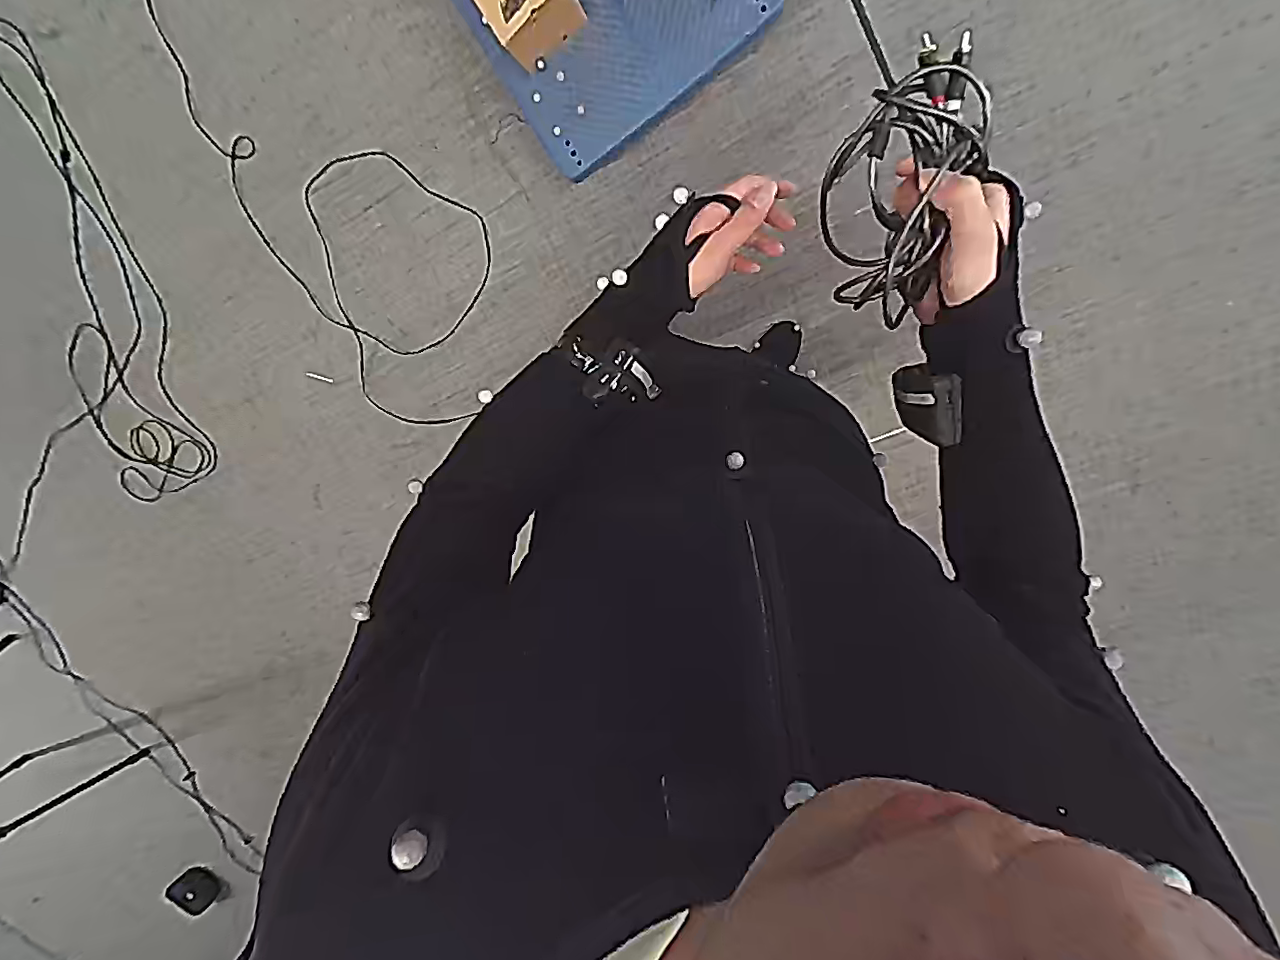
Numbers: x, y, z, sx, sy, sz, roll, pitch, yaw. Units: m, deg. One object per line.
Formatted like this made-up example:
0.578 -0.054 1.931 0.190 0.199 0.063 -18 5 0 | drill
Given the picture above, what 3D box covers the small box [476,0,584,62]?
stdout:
-0.236 -0.986 1.081 0.168 0.176 0.179 -31 101 18 | small box
